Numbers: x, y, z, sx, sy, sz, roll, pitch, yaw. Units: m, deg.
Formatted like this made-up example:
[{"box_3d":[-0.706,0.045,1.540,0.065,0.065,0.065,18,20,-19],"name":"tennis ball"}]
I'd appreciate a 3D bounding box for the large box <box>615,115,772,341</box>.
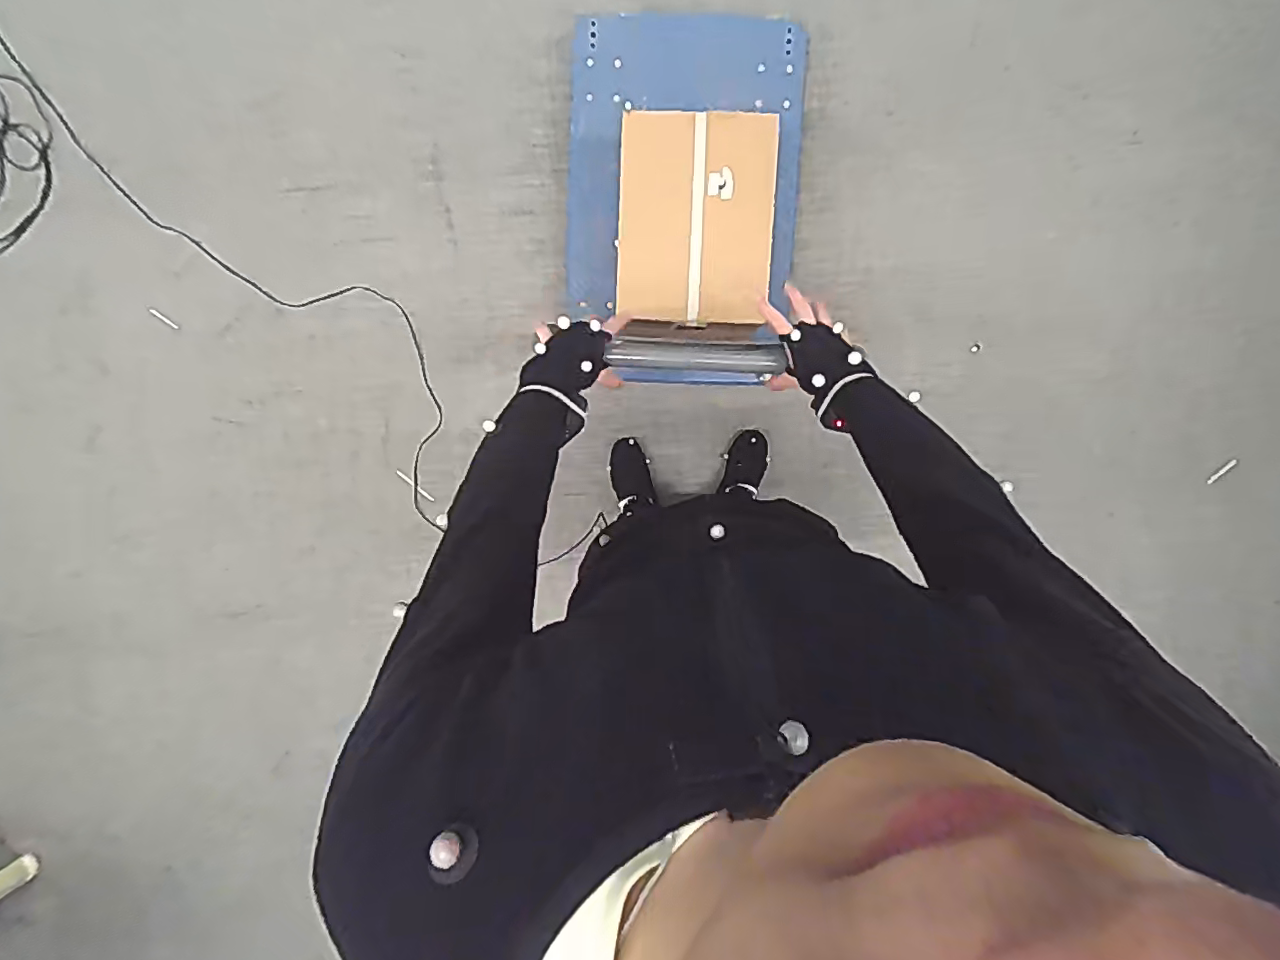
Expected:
[{"box_3d":[0.112,-0.545,1.249,0.320,0.320,0.408,2,96,0],"name":"large box"}]
